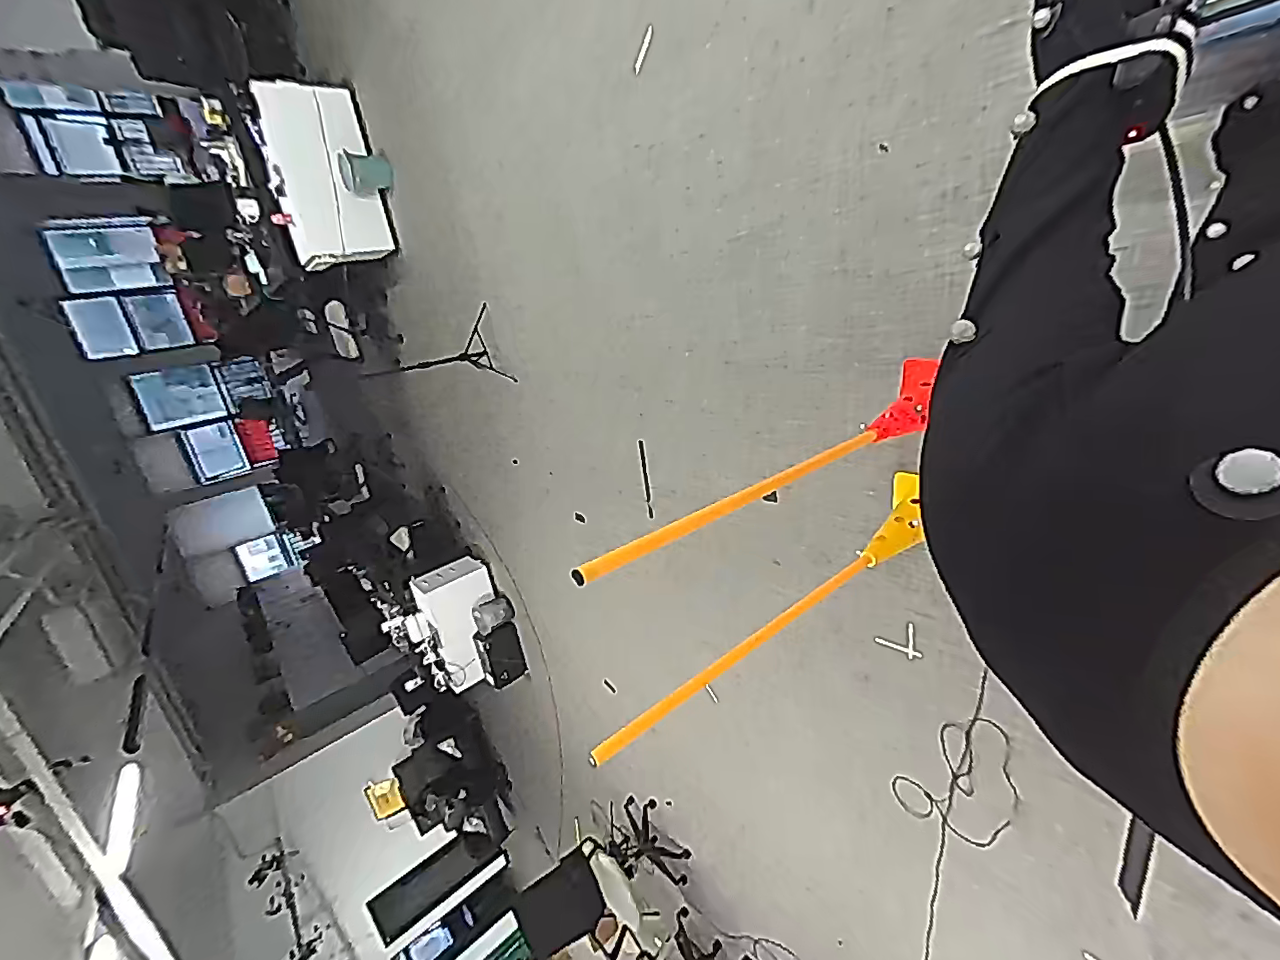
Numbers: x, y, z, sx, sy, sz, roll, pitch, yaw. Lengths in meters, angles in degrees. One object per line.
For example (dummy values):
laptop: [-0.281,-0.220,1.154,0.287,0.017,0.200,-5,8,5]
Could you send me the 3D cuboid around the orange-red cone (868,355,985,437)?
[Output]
orange-red cone: [0.665,-0.174,1.334,0.198,0.360,0.199,22,125,44]
